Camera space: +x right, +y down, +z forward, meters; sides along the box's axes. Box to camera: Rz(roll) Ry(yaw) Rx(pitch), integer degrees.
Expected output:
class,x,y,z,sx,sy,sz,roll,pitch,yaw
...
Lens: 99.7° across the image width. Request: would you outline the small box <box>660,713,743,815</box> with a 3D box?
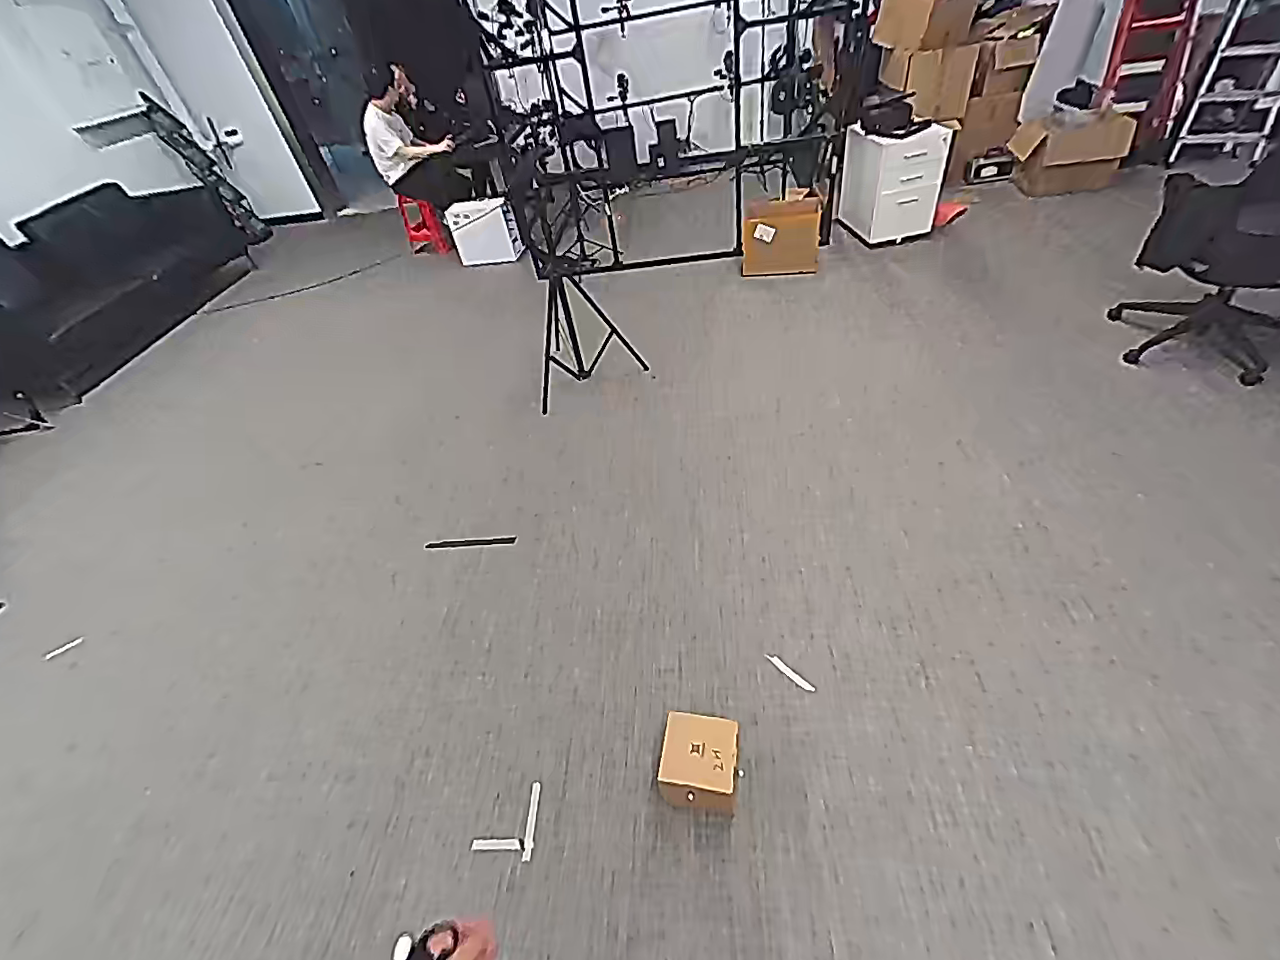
class,x,y,z,sx,sy,sz,roll,pitch,yaw
small box,0.157,0.699,1.329,0.179,0.176,0.168,3,45,15
